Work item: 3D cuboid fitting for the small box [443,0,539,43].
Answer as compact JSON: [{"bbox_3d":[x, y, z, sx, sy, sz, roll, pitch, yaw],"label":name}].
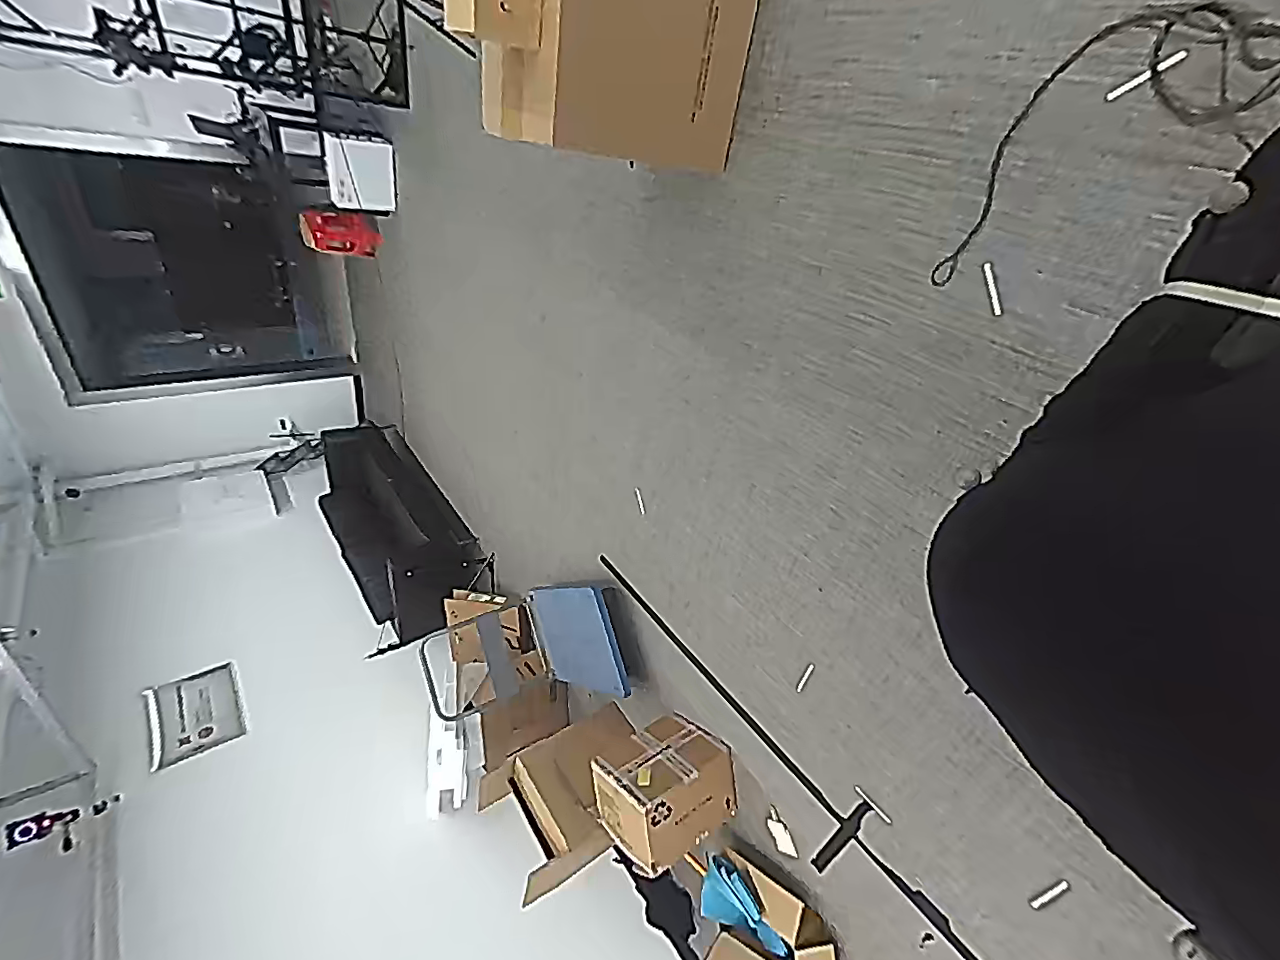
[{"bbox_3d":[-0.337,-1.116,1.227,0.179,0.176,0.168,42,135,37],"label":"small box"}]
